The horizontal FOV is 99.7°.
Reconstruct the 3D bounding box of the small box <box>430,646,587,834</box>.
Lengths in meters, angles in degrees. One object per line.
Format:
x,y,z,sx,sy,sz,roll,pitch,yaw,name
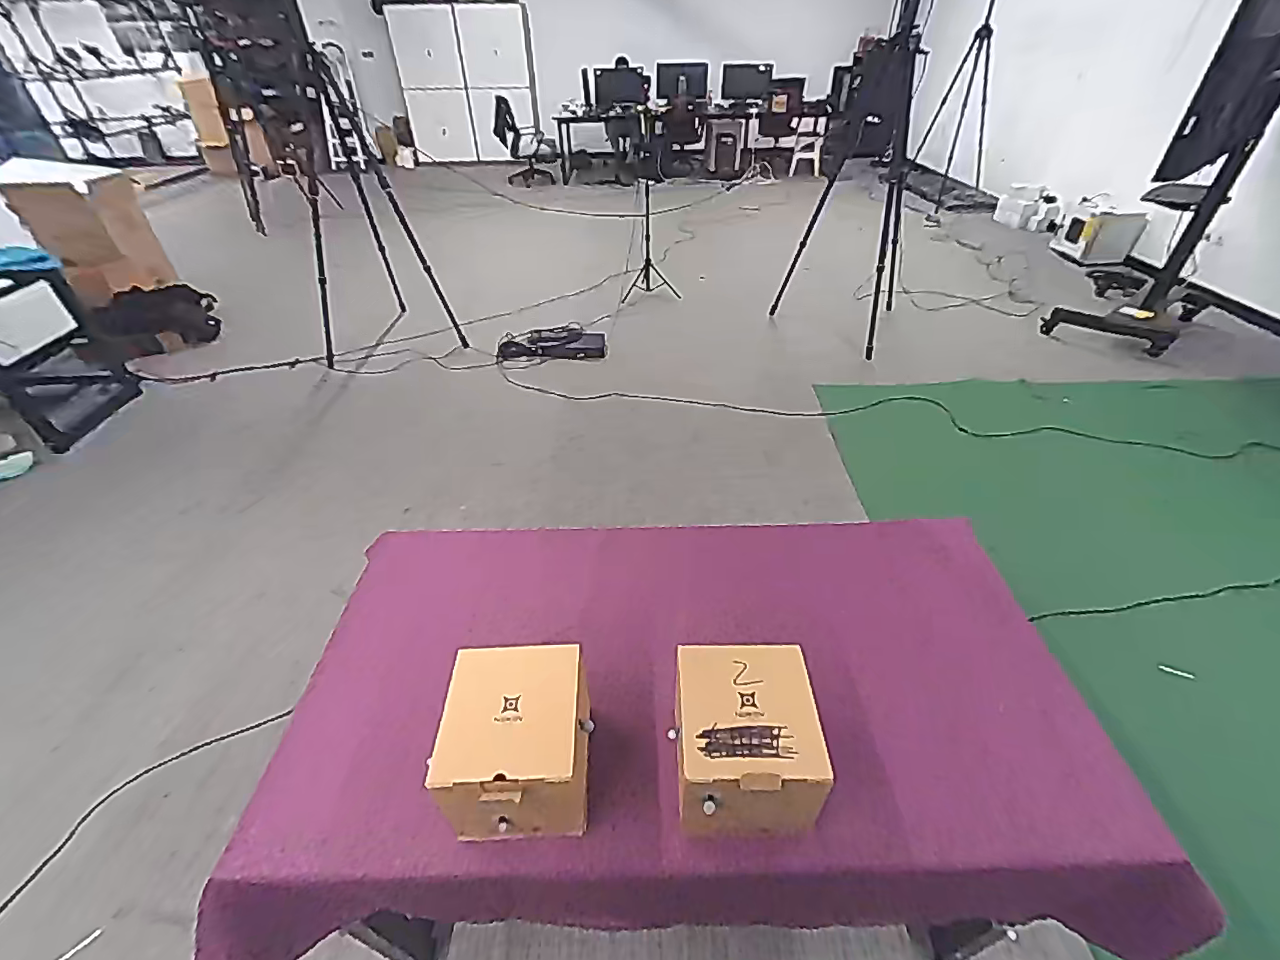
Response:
-0.161,0.348,0.730,0.168,0.176,0.179,-2,40,-1,small box
